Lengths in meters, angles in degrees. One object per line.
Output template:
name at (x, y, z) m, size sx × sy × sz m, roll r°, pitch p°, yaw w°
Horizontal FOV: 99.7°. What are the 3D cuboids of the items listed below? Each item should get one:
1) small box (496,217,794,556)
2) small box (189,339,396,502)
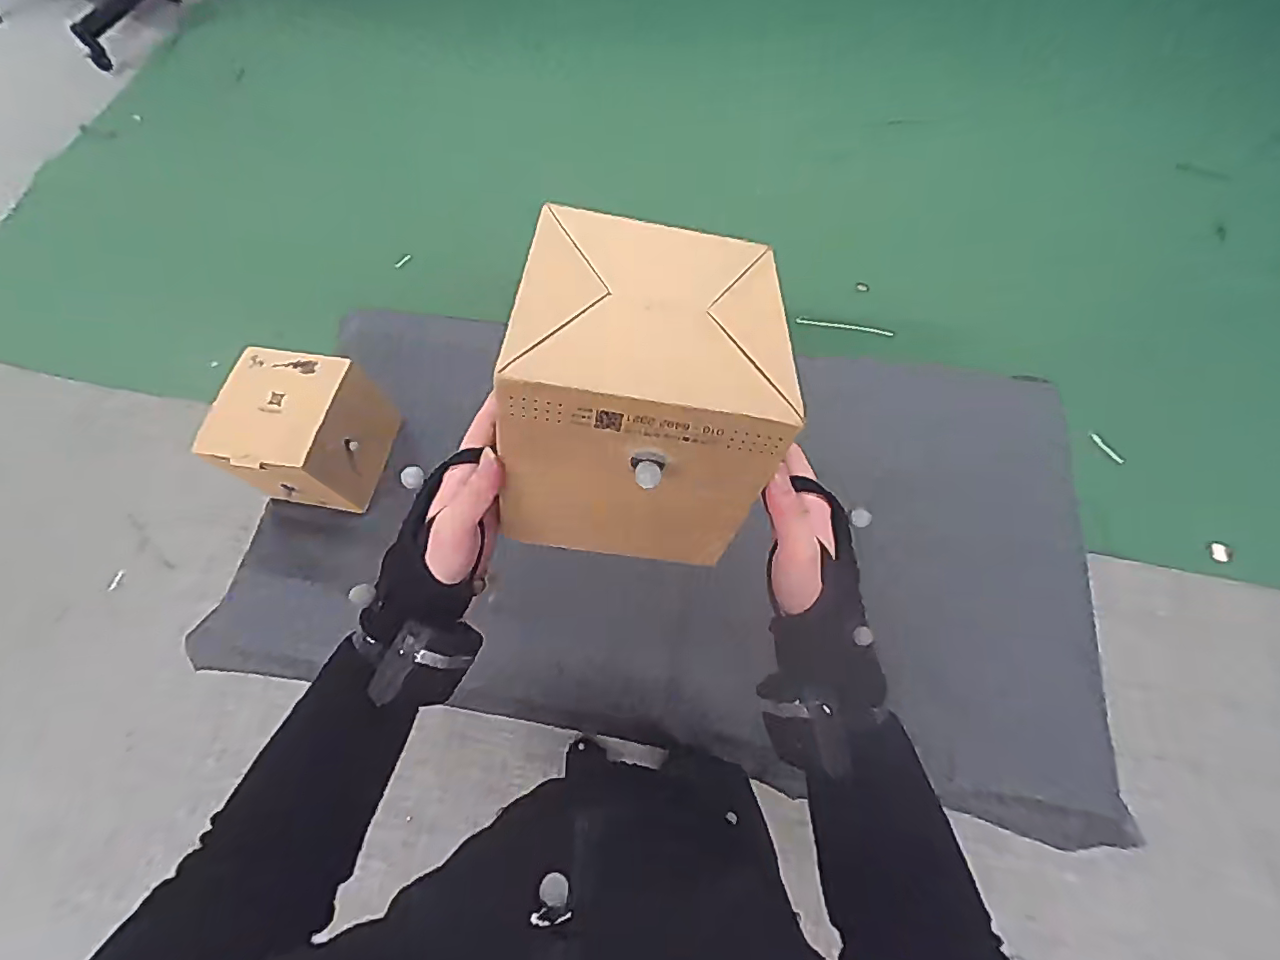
small box at (-0.005, -0.069, 0.389) m, size 0.168 × 0.176 × 0.179 m, roll 8°, pitch 51°, yaw -7°
small box at (-0.495, -0.080, 0.803) m, size 0.168 × 0.176 × 0.179 m, roll 9°, pitch 70°, yaw 5°
